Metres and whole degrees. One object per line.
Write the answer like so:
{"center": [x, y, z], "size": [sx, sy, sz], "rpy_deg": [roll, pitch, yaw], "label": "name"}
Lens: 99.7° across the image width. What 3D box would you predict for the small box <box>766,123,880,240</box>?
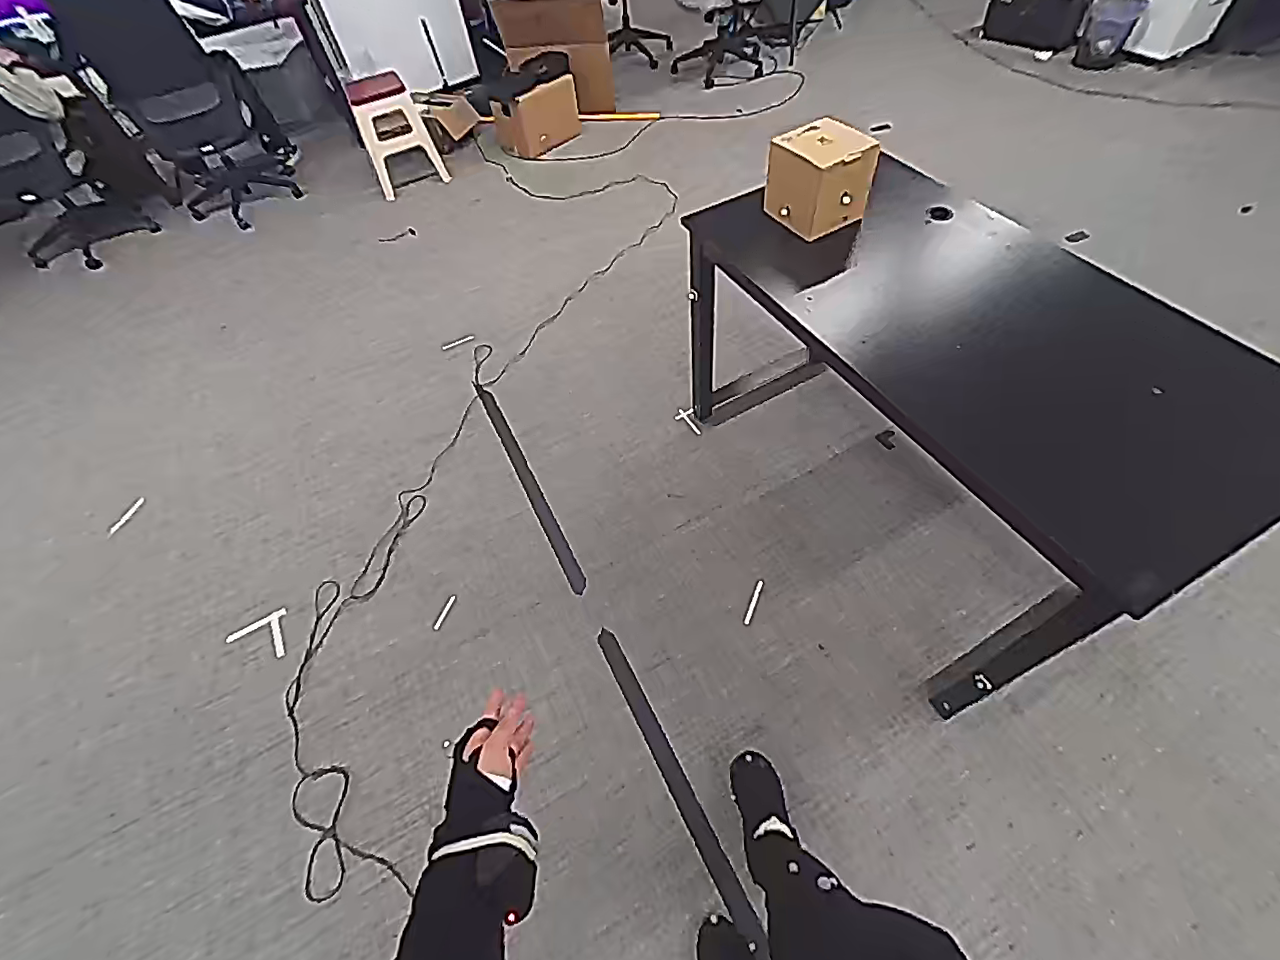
{"center": [0.415, -0.687, 1.258], "size": [0.168, 0.176, 0.179], "rpy_deg": [-27, 58, -14], "label": "small box"}
